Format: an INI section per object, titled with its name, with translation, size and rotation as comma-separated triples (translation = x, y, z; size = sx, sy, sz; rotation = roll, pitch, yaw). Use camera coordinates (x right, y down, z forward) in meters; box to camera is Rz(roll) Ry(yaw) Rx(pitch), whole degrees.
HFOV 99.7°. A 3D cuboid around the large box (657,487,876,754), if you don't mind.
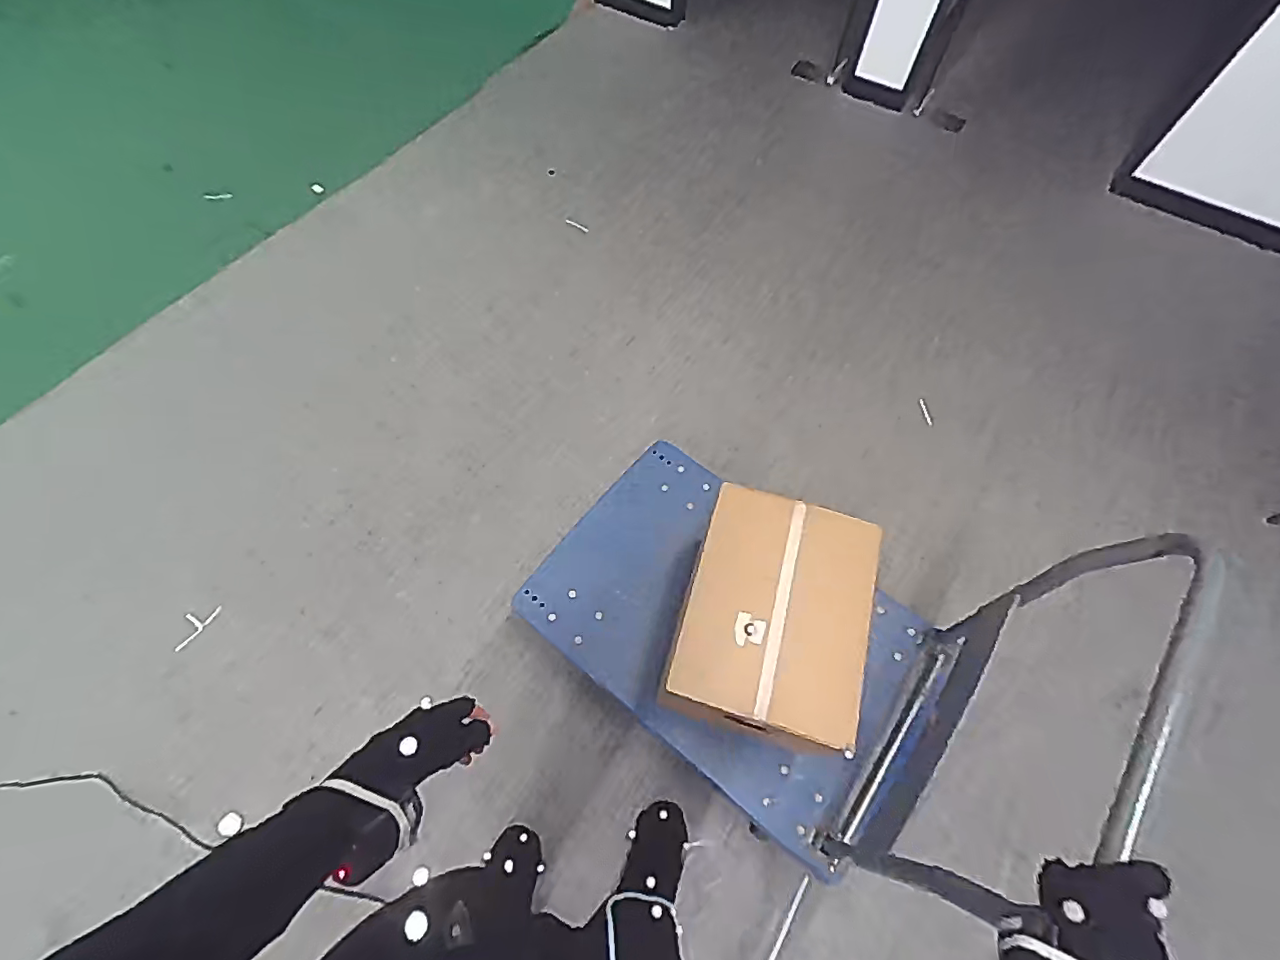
[large box]
translation = 0.241, 0.286, 1.089
size = 0.320, 0.320, 0.408
rotation = 17, 65, 7
